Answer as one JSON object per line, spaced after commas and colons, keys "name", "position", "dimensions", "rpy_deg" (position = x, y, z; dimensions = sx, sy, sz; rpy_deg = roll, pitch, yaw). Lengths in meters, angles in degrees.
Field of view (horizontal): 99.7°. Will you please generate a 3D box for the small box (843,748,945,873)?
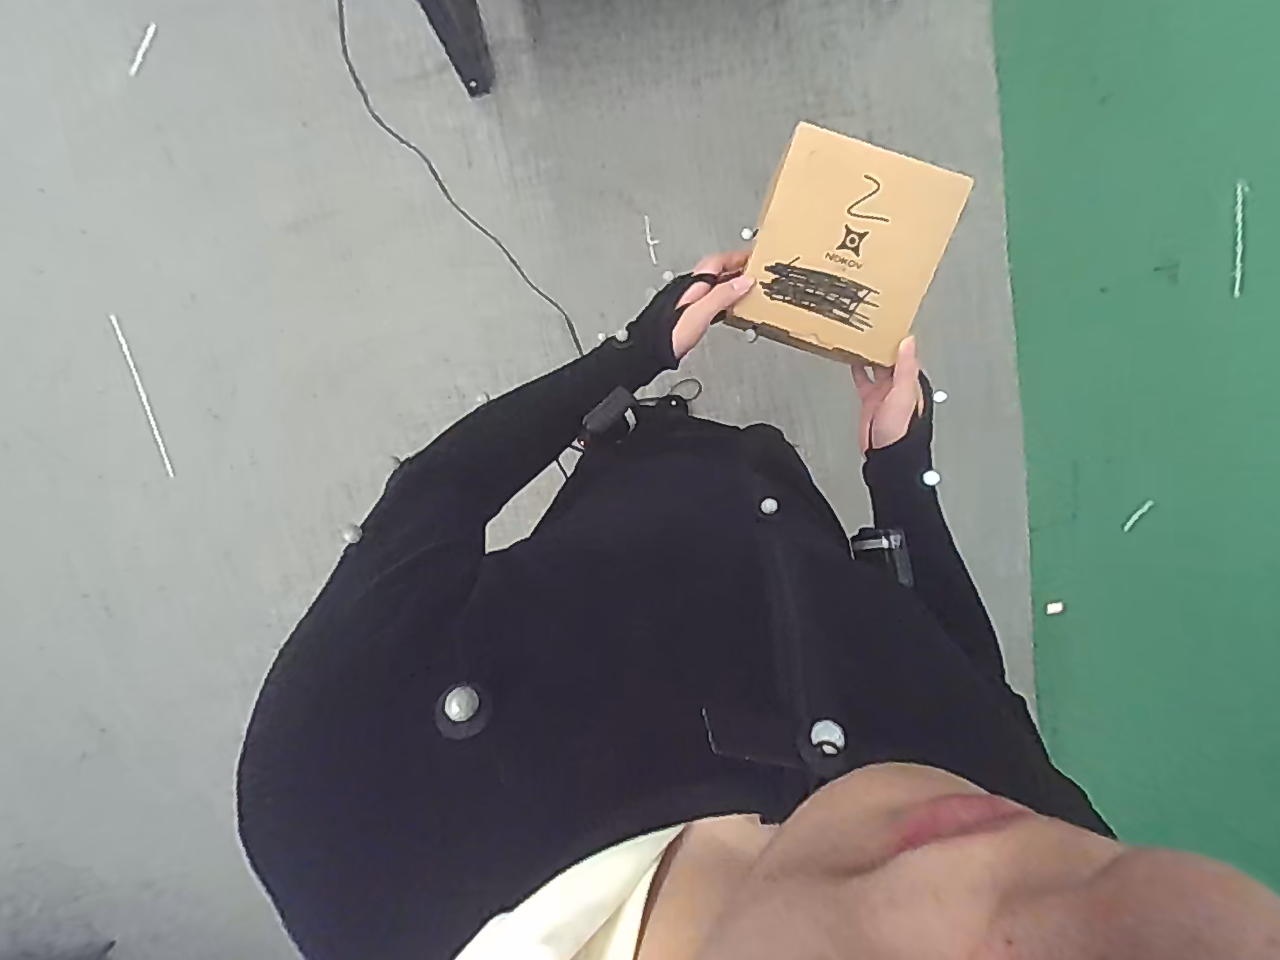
{"name": "small box", "position": [0.592, 0.769, 1.269], "dimensions": [0.168, 0.176, 0.179], "rpy_deg": [-9, 100, 0]}
